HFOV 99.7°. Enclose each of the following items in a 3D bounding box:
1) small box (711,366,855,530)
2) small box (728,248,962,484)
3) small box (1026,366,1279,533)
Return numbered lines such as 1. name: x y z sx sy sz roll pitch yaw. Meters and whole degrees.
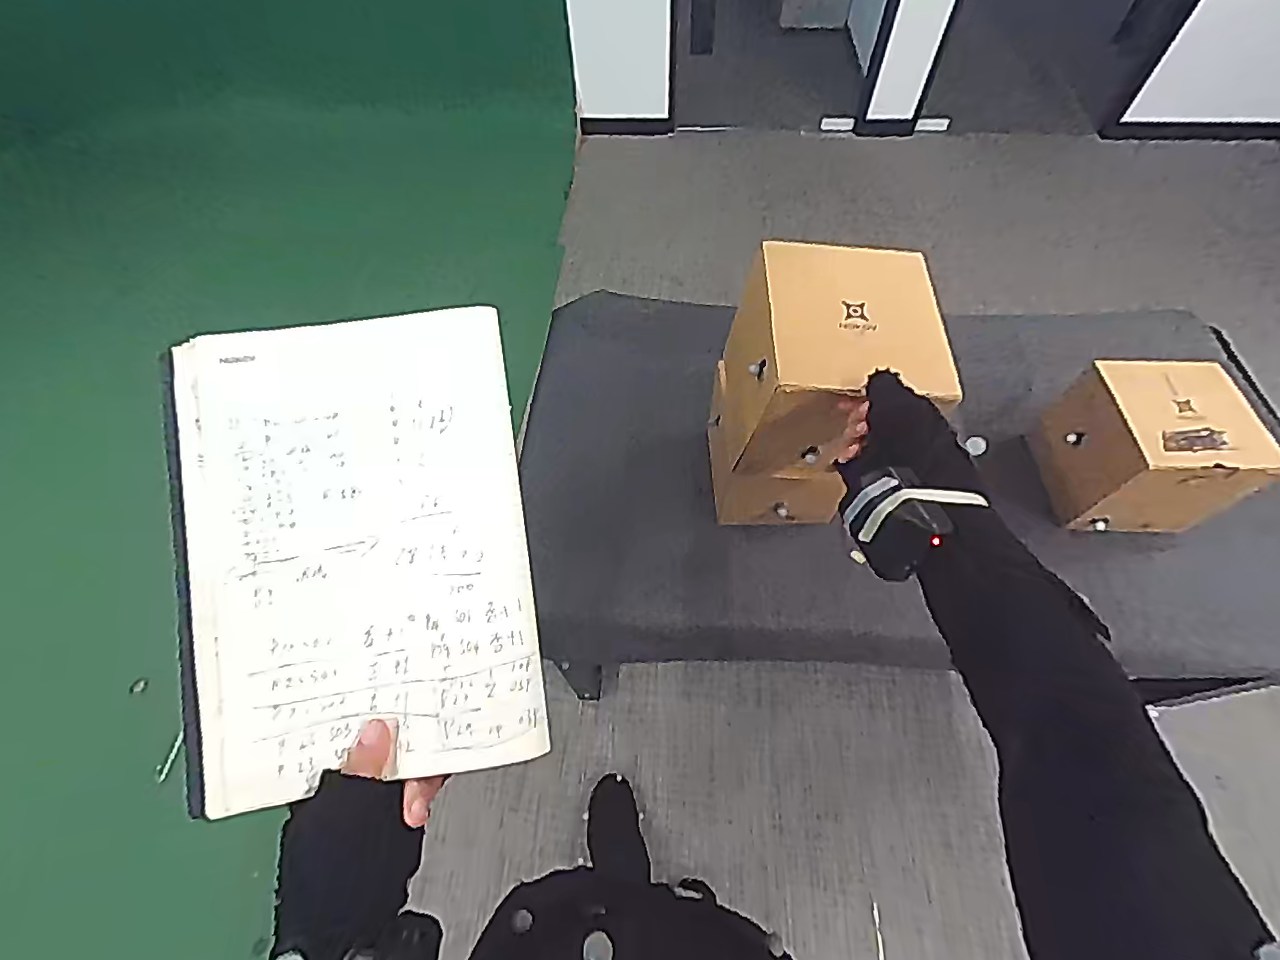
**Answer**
1. small box: 0.196 -0.044 0.773 0.168 0.176 0.179 -2 57 1
2. small box: 0.195 -0.113 0.576 0.168 0.176 0.179 2 63 -4
3. small box: 0.692 -0.038 0.756 0.168 0.176 0.179 2 57 3
